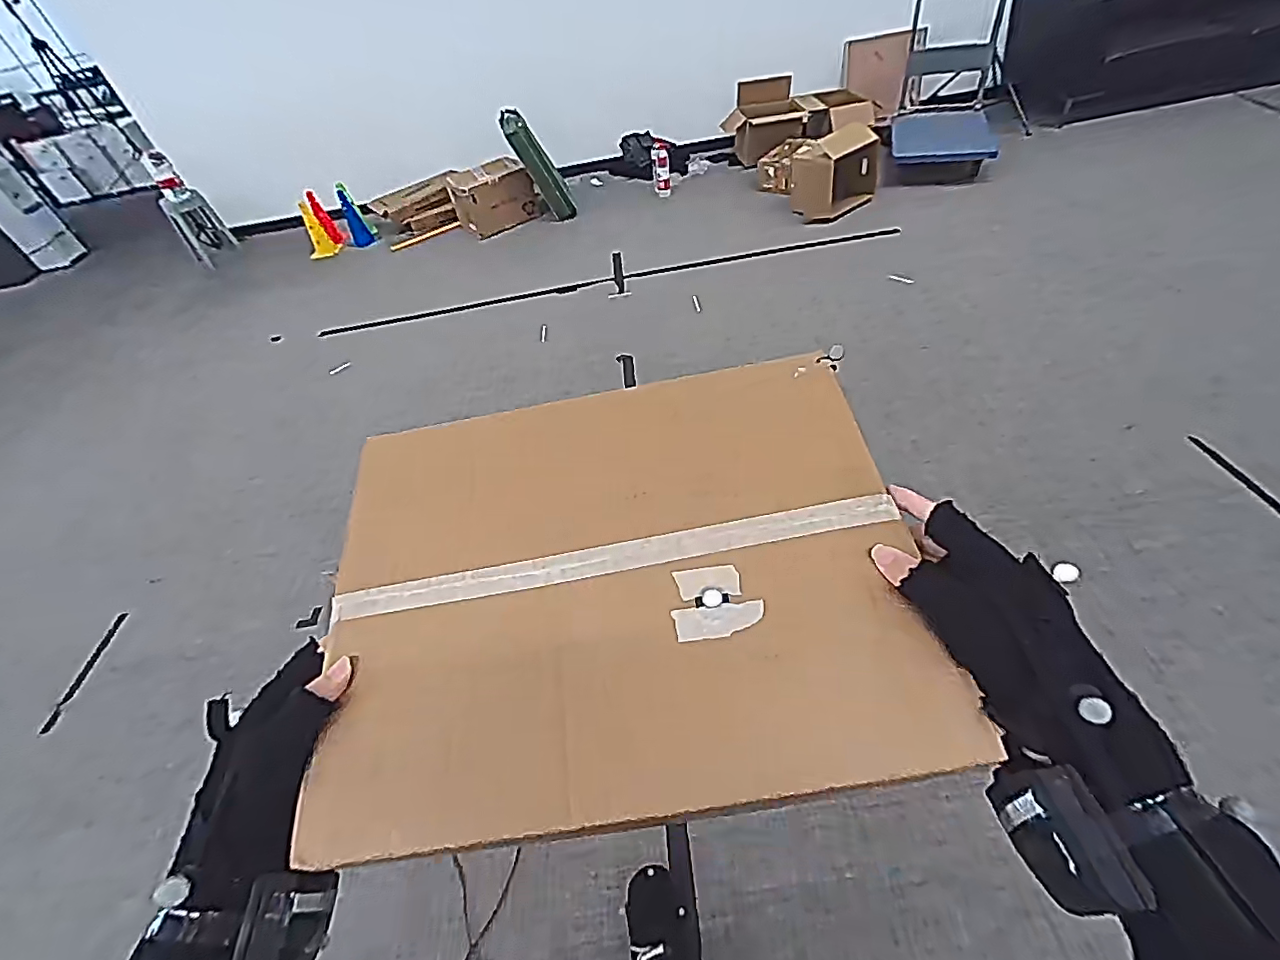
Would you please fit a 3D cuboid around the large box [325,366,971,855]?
[{"bbox_3d":[-0.001,0.141,0.526,0.408,0.320,0.320,-11,58,2],"label":"large box"}]
